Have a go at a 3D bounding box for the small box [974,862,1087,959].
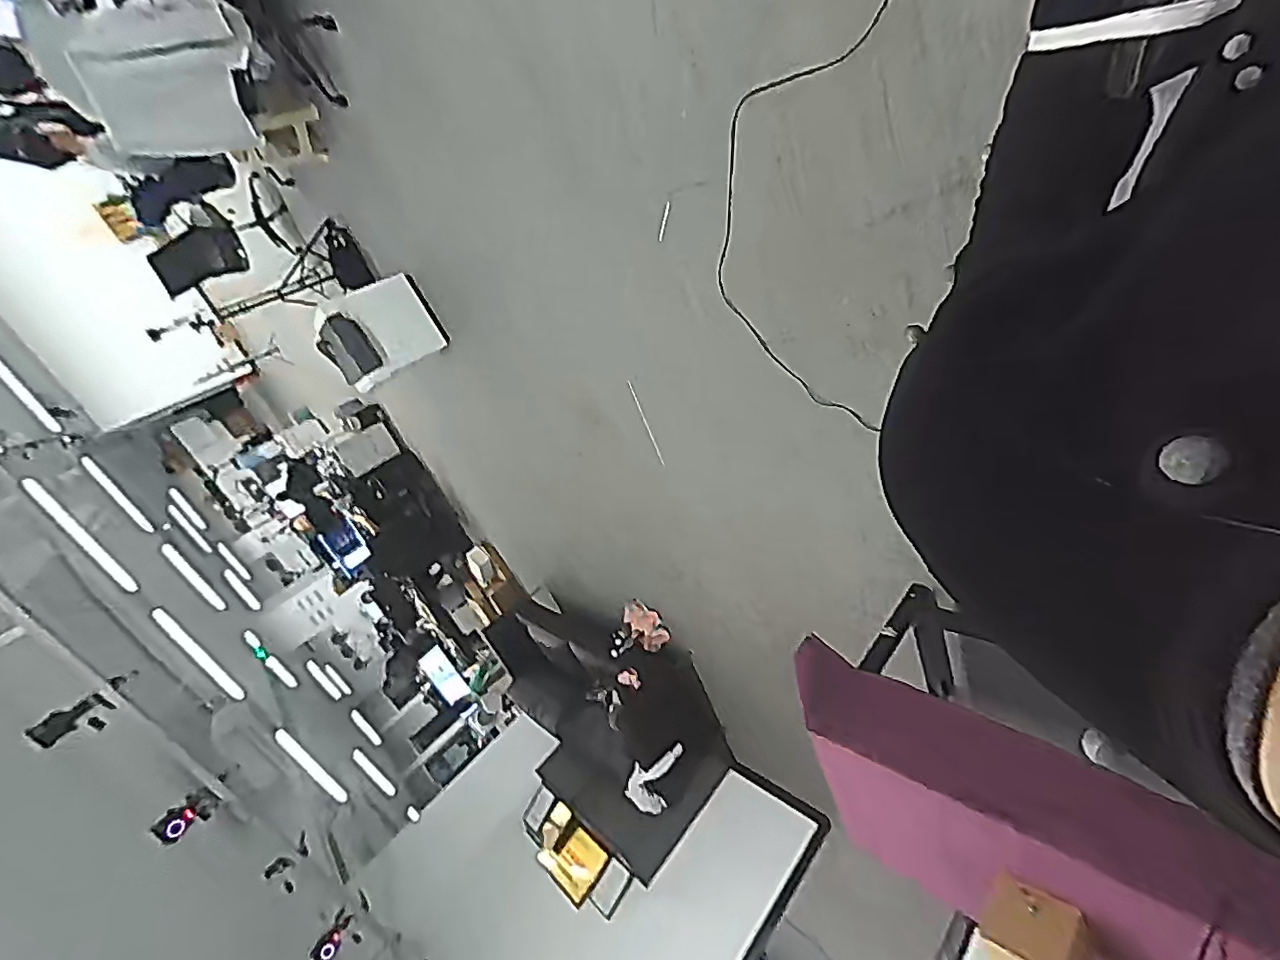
[{"bbox_3d":[0.945,1.085,1.302,0.168,0.176,0.179,-3,120,54],"label":"small box"}]
